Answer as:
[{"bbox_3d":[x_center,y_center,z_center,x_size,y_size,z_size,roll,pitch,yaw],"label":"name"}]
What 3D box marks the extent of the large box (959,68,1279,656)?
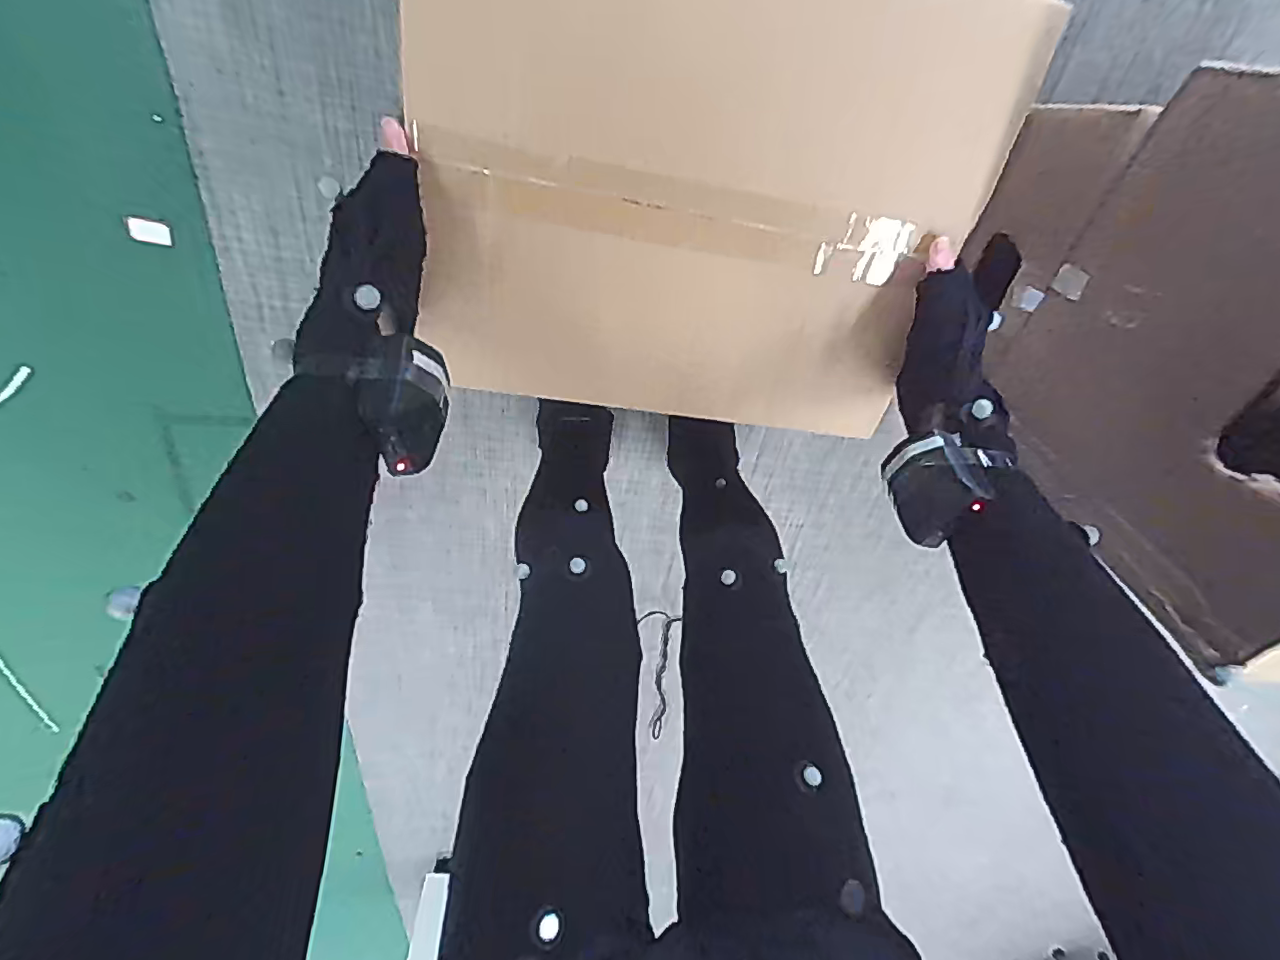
[{"bbox_3d":[0.567,-0.079,0.408,0.408,0.320,0.320,6,129,-7],"label":"large box"}]
